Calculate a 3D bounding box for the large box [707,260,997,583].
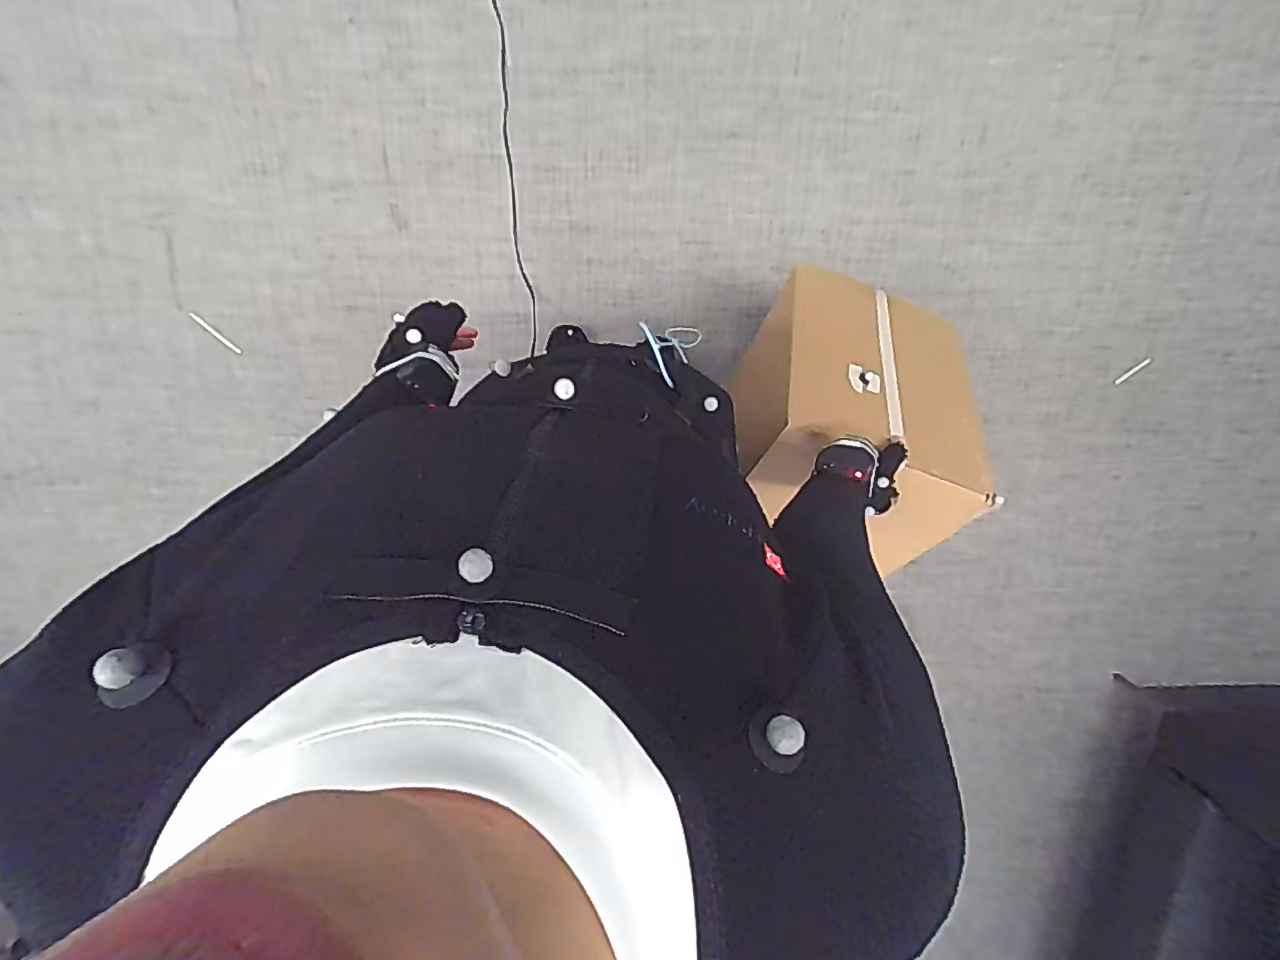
[{"bbox_3d":[0.333,-0.095,0.942,0.320,0.408,0.320,19,144,-6],"label":"large box"}]
